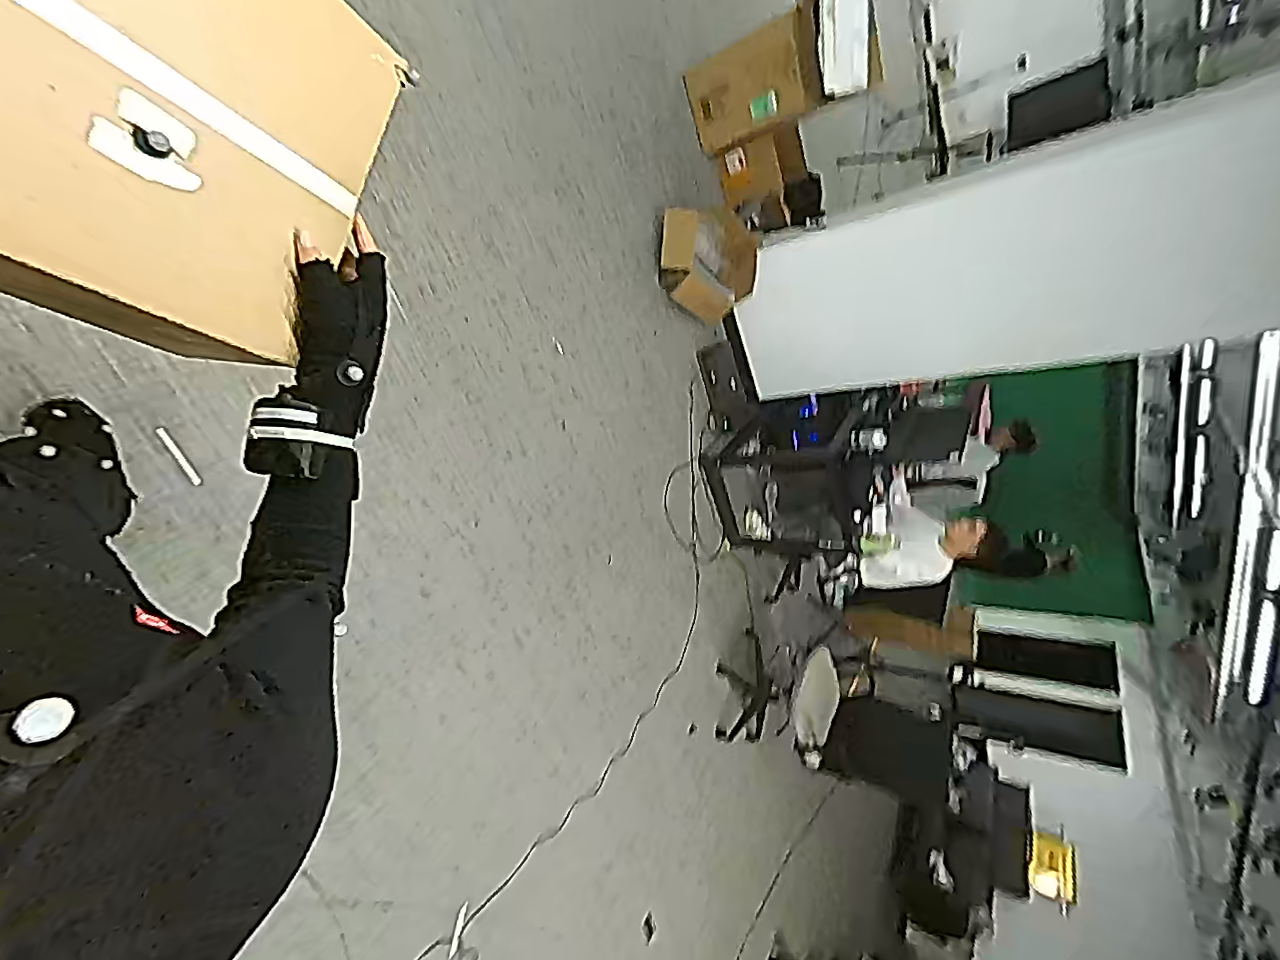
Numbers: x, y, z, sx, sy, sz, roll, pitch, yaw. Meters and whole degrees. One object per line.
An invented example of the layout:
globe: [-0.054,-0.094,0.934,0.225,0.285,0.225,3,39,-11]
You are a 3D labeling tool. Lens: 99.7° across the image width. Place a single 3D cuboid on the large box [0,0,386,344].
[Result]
large box: [-0.505,-0.331,0.424,0.408,0.320,0.320,22,82,-55]
